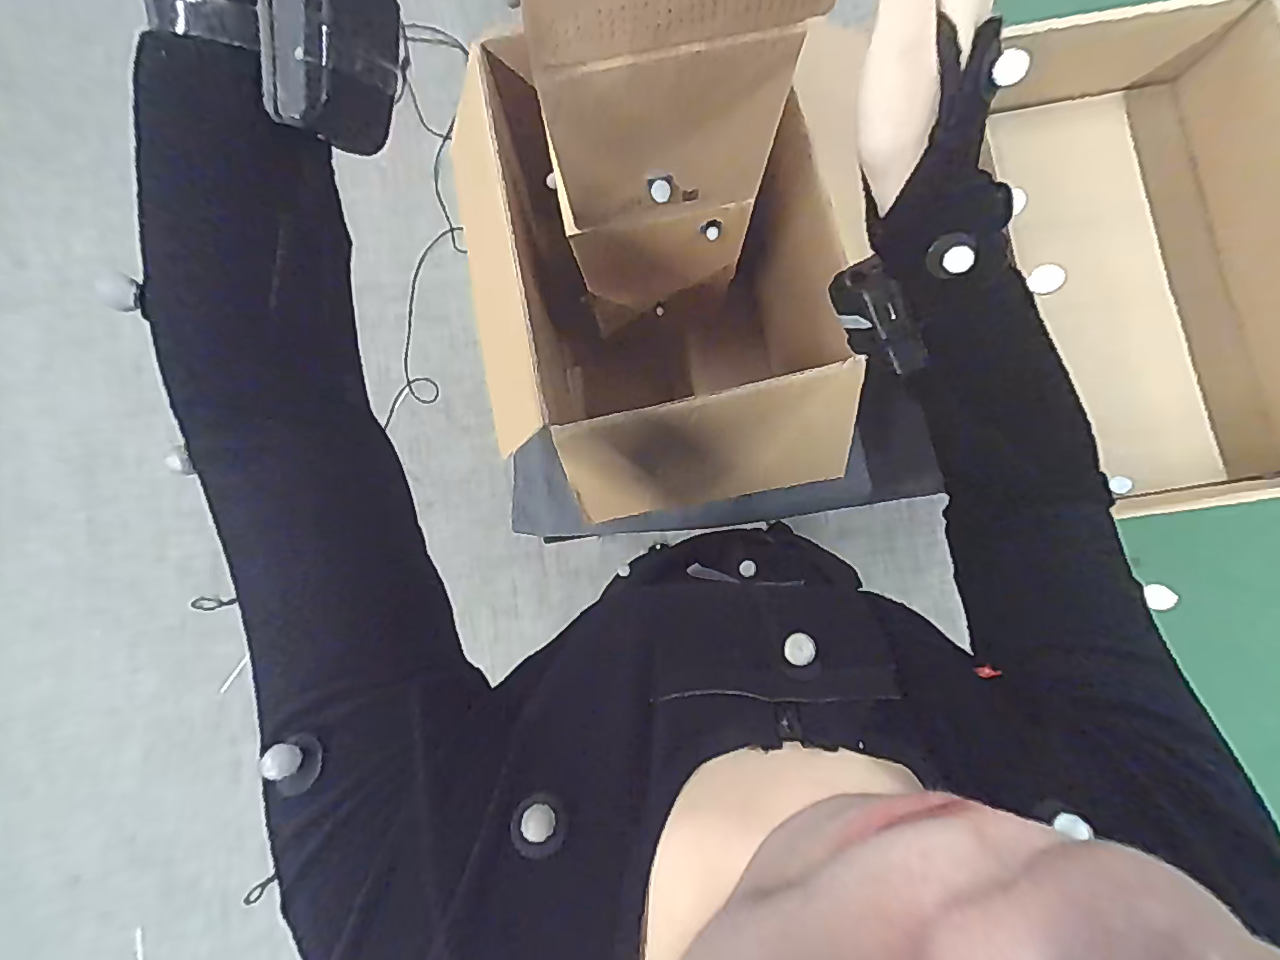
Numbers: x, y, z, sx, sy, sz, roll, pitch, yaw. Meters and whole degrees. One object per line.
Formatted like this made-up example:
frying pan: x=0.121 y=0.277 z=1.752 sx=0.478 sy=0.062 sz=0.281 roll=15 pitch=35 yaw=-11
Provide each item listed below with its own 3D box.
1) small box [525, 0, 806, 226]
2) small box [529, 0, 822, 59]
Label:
small box: x=0.008 y=-0.327 z=0.407 sx=0.168 sy=0.176 sz=0.179 roll=-10 pitch=87 yaw=2
small box: x=0.012 y=-0.339 z=0.244 sx=0.179 sy=0.176 sz=0.168 roll=-10 pitch=87 yaw=2
